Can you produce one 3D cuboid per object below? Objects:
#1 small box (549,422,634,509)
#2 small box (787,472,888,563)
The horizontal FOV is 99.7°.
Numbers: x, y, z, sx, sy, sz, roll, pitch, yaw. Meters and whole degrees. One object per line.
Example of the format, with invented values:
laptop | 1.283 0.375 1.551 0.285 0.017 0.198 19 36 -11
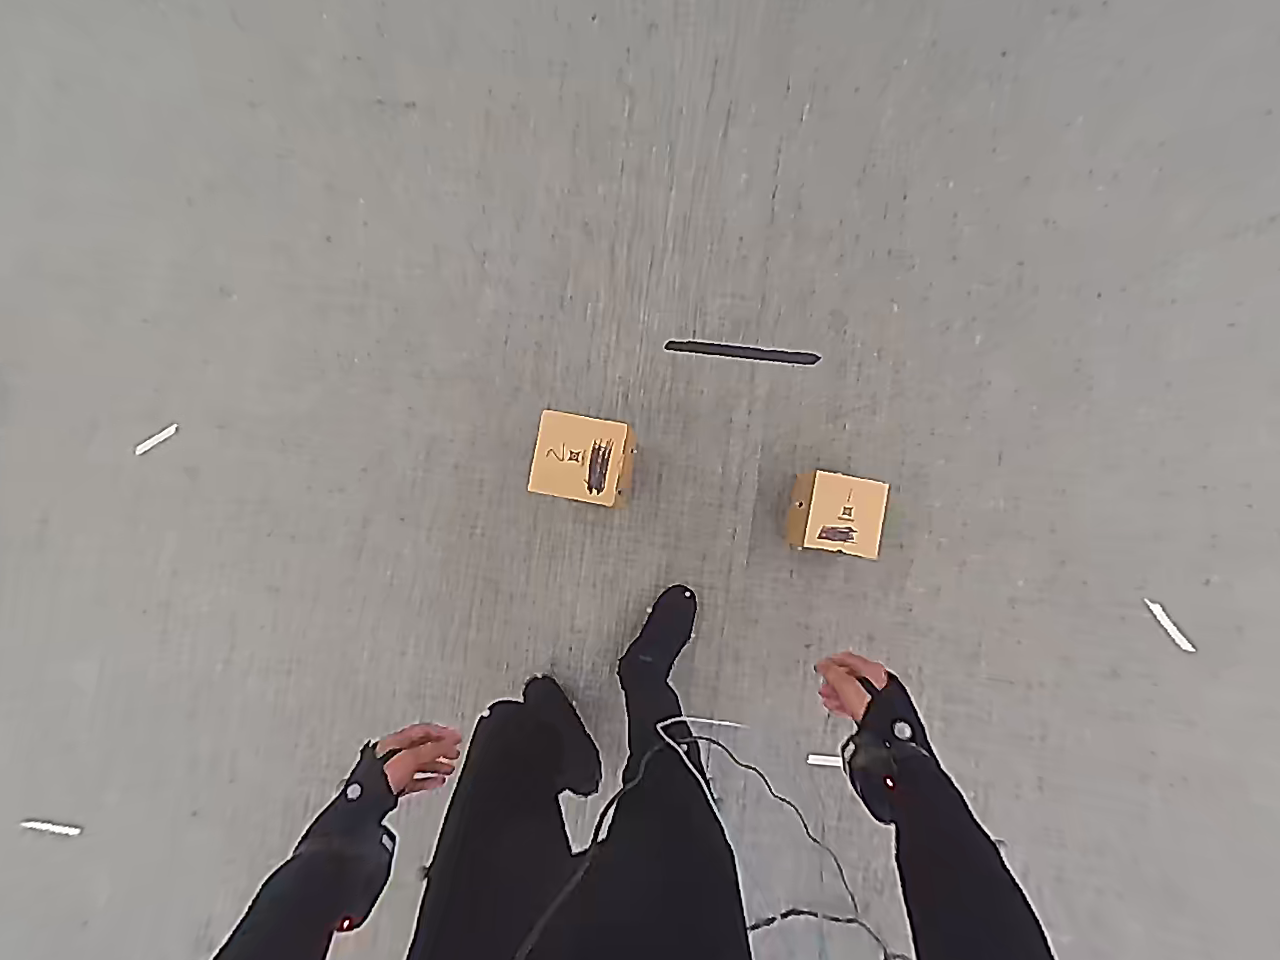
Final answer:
small box | -0.108 -0.028 1.295 0.168 0.176 0.179 9 87 3
small box | 0.454 0.086 1.270 0.168 0.176 0.179 11 87 1
